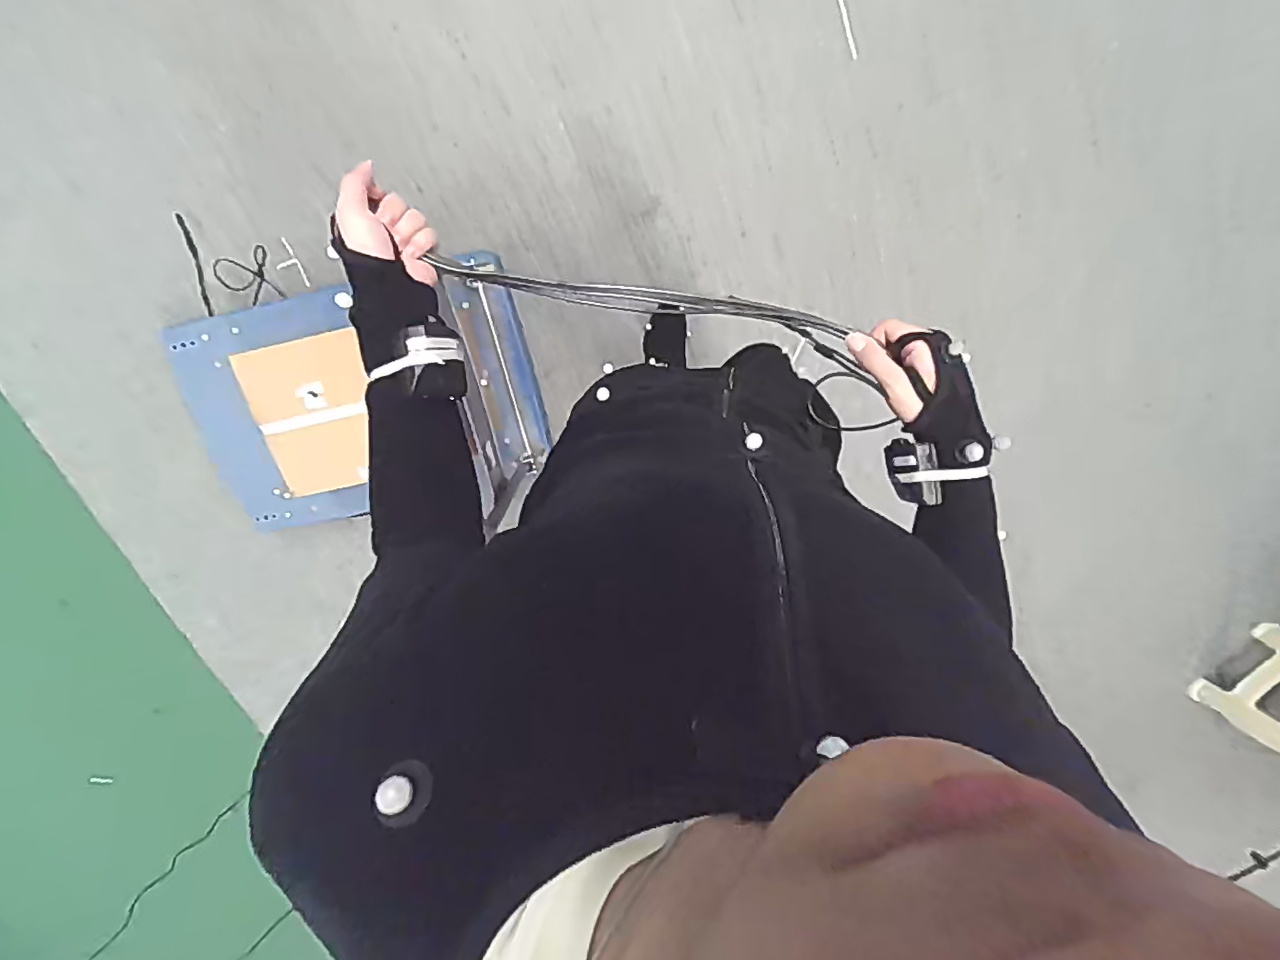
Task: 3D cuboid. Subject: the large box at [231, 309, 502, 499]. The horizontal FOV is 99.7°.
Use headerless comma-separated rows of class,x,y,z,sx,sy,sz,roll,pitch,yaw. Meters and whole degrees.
large box,-0.583,-0.189,1.237,0.408,0.320,0.320,-12,107,4
